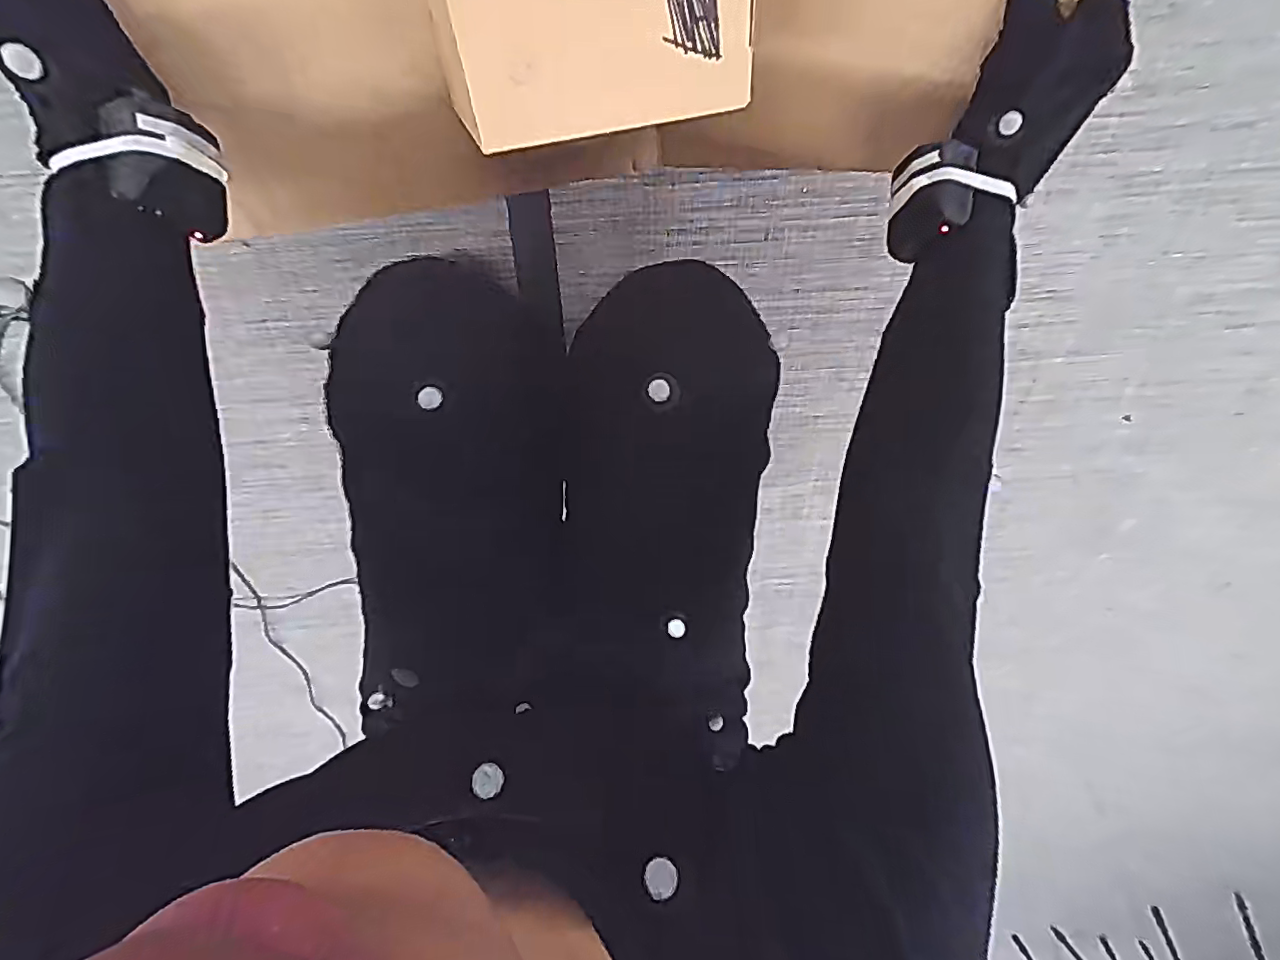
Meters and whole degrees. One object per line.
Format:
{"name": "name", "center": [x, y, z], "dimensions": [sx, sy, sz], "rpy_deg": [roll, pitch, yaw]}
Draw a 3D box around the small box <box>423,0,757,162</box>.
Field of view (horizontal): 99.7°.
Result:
{"name": "small box", "center": [-0.043, -0.318, 0.329], "dimensions": [0.179, 0.176, 0.168], "rpy_deg": [-17, 135, -10]}
